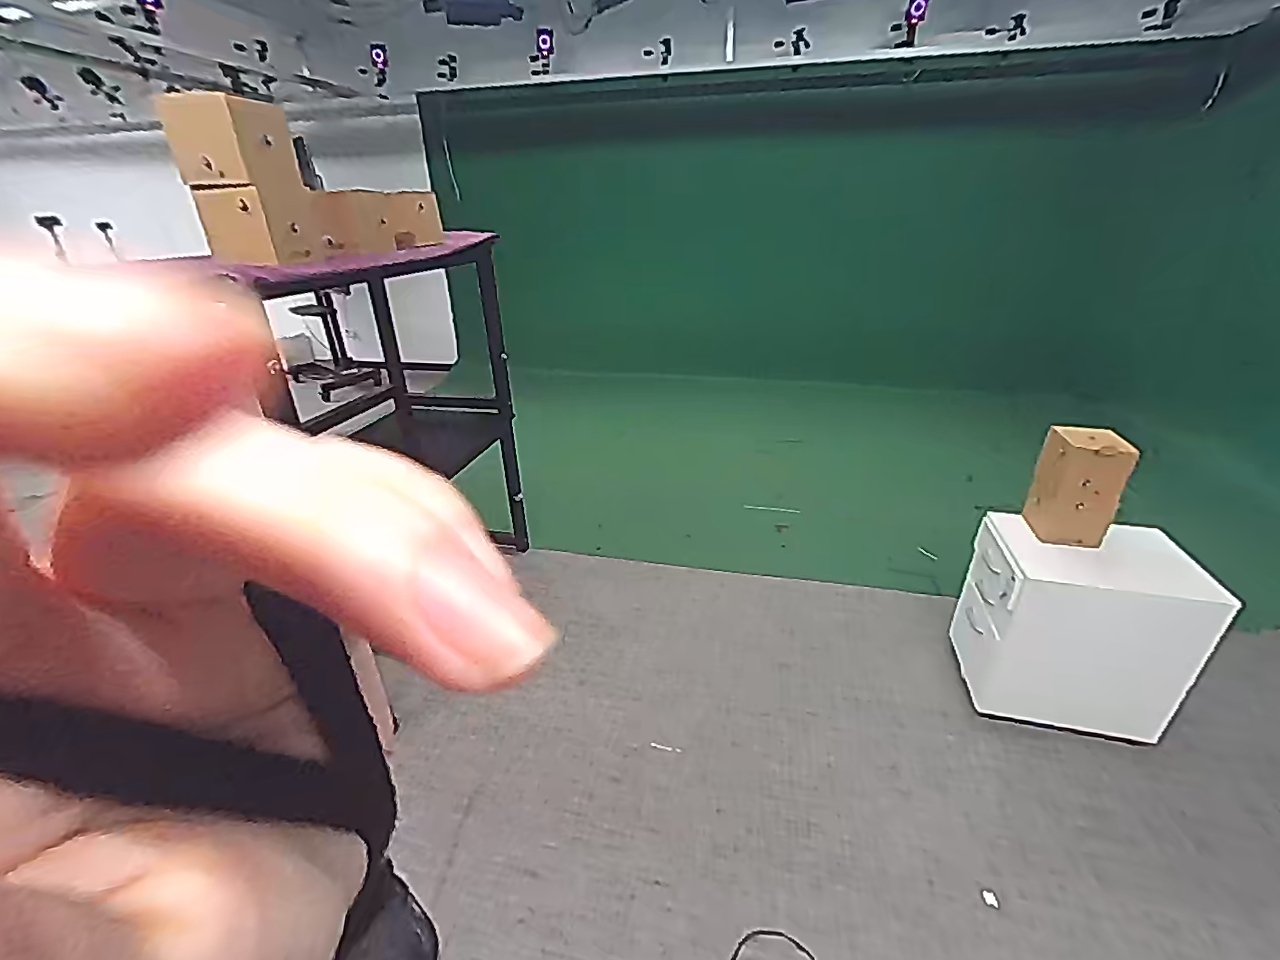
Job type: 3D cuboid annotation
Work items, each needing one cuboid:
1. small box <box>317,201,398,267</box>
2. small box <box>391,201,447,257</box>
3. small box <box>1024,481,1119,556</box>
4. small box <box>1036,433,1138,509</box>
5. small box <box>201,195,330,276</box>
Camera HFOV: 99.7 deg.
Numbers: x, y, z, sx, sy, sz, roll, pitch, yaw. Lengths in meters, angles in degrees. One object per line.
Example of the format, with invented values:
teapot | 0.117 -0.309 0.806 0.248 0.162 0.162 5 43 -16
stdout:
small box | -0.849 -0.736 1.614 0.168 0.176 0.179 3 27 10
small box | -0.805 -0.880 1.900 0.168 0.176 0.179 3 26 14
small box | 1.369 0.120 1.731 0.168 0.176 0.179 5 27 13
small box | 1.361 -0.028 1.664 0.168 0.176 0.179 6 28 13
small box | -0.891 -0.591 1.306 0.179 0.176 0.168 4 25 10
